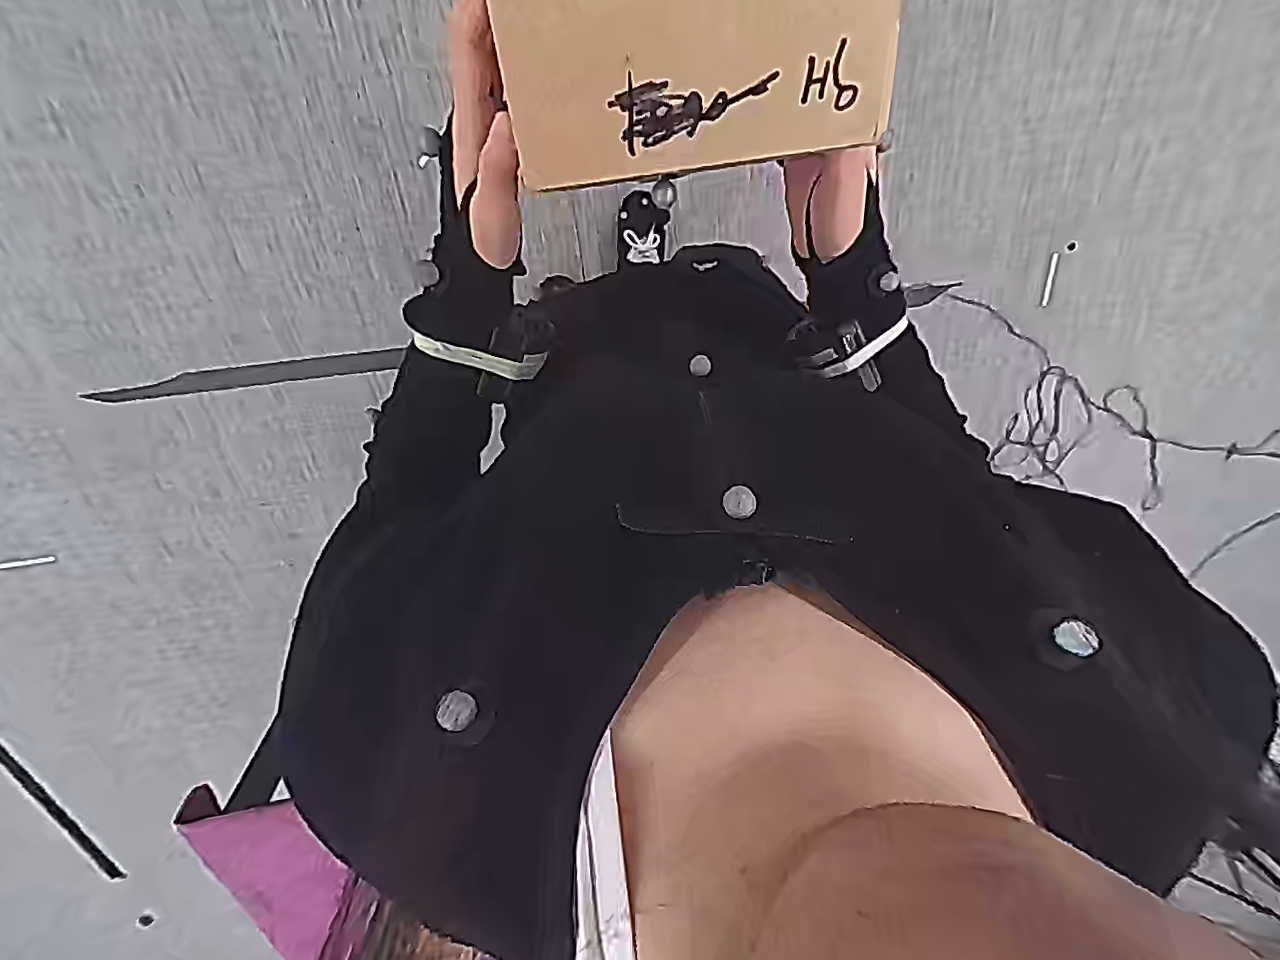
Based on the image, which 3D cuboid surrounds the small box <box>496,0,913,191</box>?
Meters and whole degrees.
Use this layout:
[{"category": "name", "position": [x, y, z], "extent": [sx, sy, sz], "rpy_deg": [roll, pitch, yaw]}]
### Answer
[{"category": "small box", "position": [0.015, -0.250, 0.265], "extent": [0.168, 0.176, 0.179], "rpy_deg": [-9, 118, 0]}]
